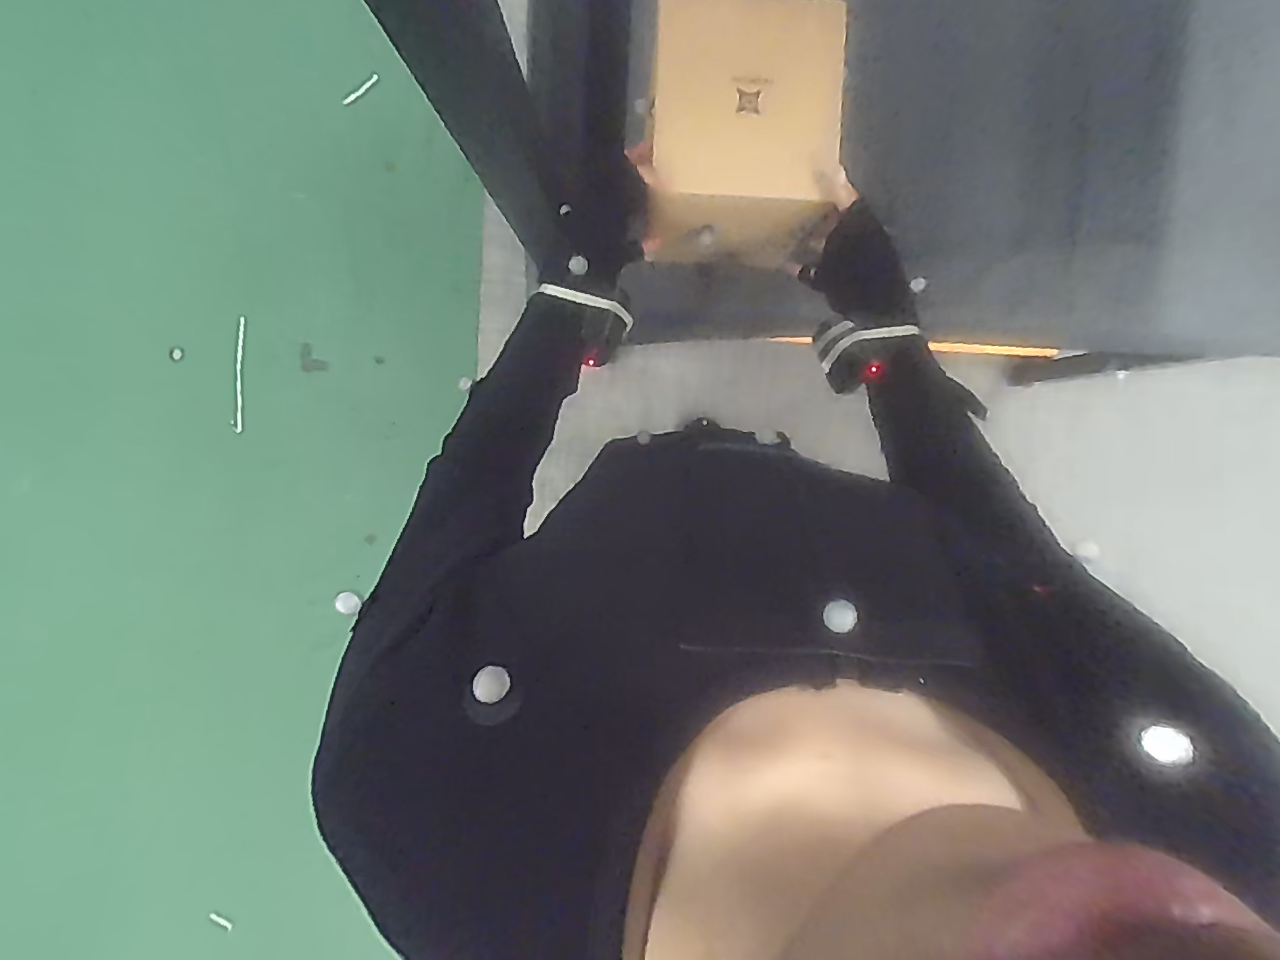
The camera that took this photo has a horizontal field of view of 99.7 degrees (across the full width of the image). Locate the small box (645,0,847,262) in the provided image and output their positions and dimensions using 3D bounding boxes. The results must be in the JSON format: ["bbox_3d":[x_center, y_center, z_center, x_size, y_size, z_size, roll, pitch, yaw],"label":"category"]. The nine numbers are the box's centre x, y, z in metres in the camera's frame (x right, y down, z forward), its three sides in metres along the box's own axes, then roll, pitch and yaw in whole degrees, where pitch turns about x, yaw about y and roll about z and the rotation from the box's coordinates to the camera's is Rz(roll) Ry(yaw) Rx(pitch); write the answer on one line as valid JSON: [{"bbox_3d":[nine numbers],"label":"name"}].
[{"bbox_3d":[0.092,-0.337,0.547,0.168,0.176,0.179,2,91,-2],"label":"small box"}]
